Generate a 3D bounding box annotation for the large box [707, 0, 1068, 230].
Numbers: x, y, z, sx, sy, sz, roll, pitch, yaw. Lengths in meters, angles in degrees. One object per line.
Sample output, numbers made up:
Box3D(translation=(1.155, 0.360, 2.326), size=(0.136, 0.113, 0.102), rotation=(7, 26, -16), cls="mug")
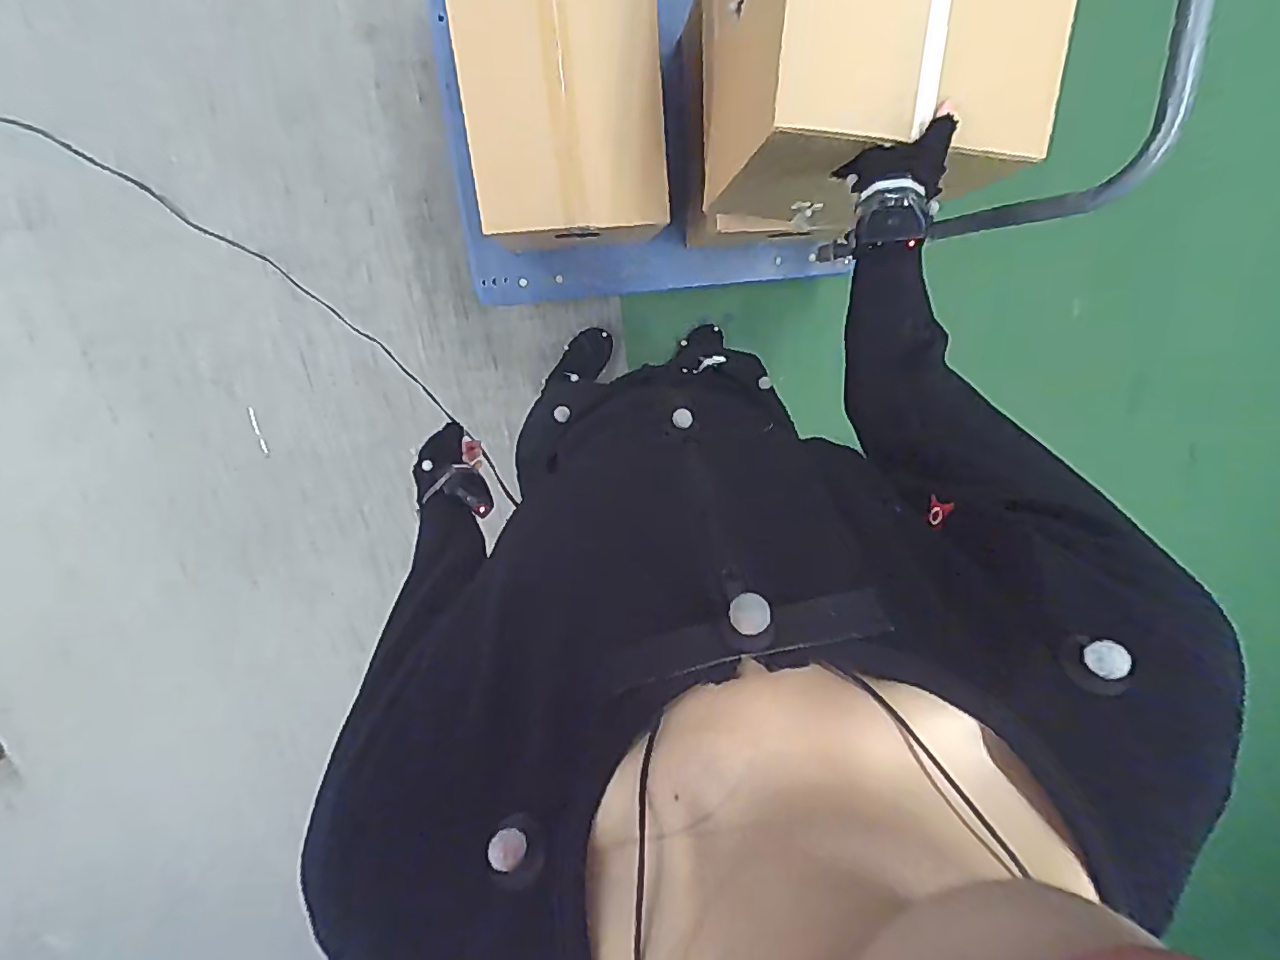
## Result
Box3D(translation=(0.273, -0.568, 0.671), size=(0.320, 0.320, 0.408), rotation=(2, 100, -7), cls="large box")
